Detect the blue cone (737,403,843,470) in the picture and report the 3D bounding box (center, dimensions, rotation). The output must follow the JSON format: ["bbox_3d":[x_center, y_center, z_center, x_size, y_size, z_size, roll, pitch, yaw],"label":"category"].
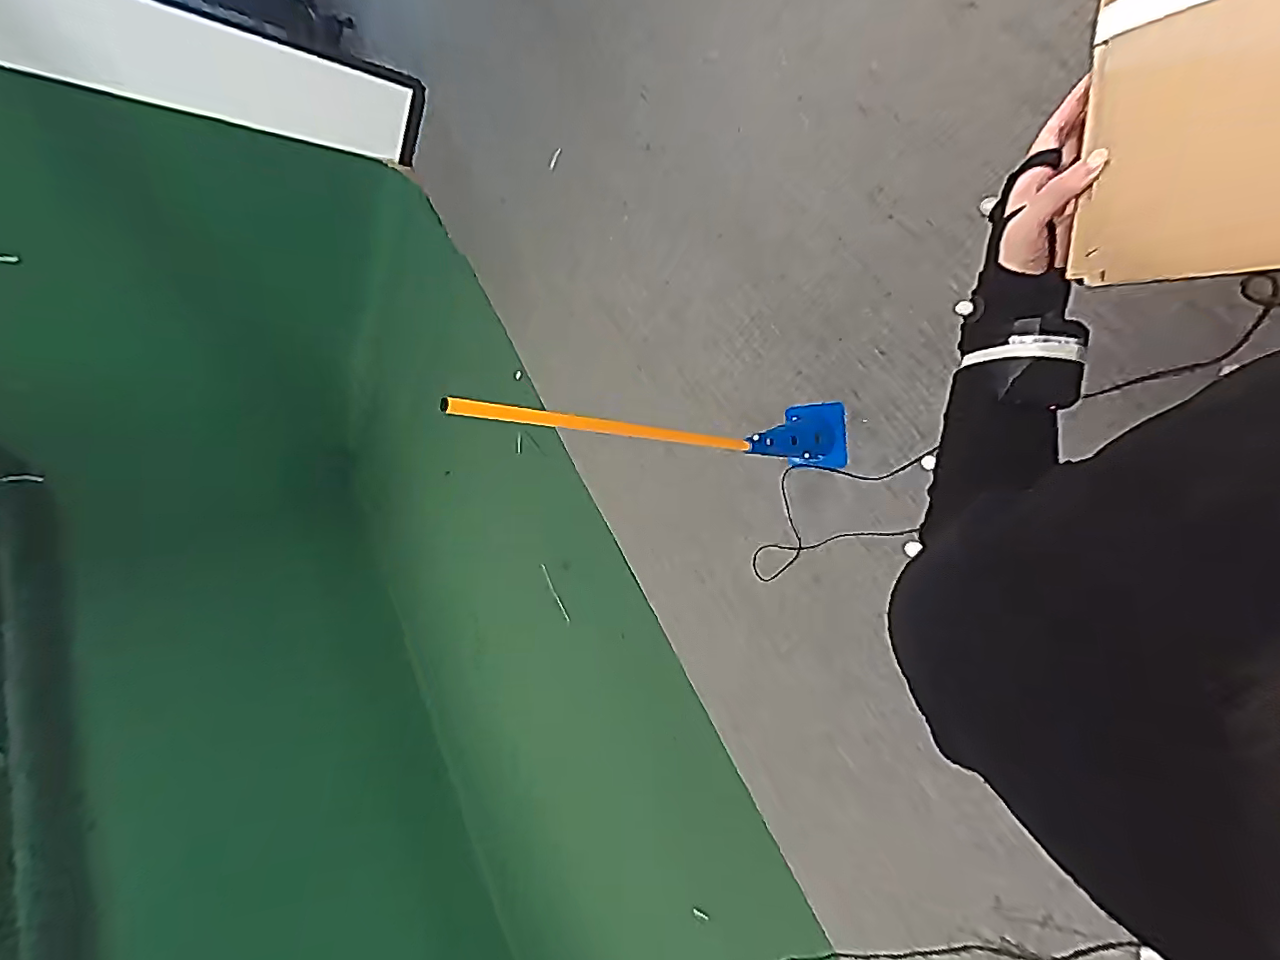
[{"bbox_3d":[0.408,-0.108,1.544,0.193,0.380,0.192,-3,95,49],"label":"blue cone"}]
